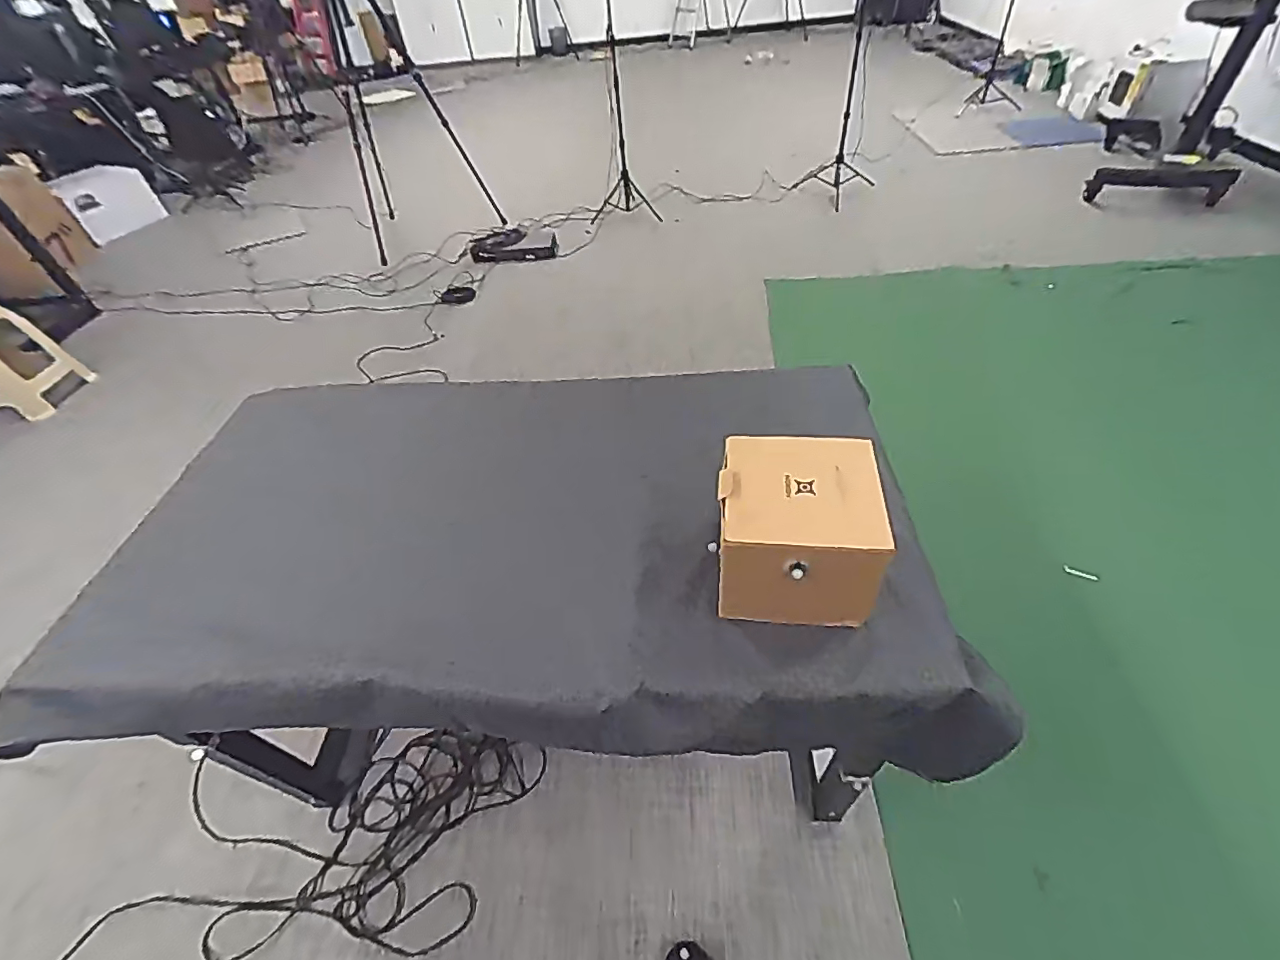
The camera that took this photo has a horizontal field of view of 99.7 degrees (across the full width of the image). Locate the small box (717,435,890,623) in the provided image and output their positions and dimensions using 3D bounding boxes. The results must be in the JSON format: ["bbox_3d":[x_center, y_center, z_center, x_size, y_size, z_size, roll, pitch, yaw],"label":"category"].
[{"bbox_3d":[0.187,0.062,0.670,0.179,0.176,0.168,3,48,8],"label":"small box"}]
